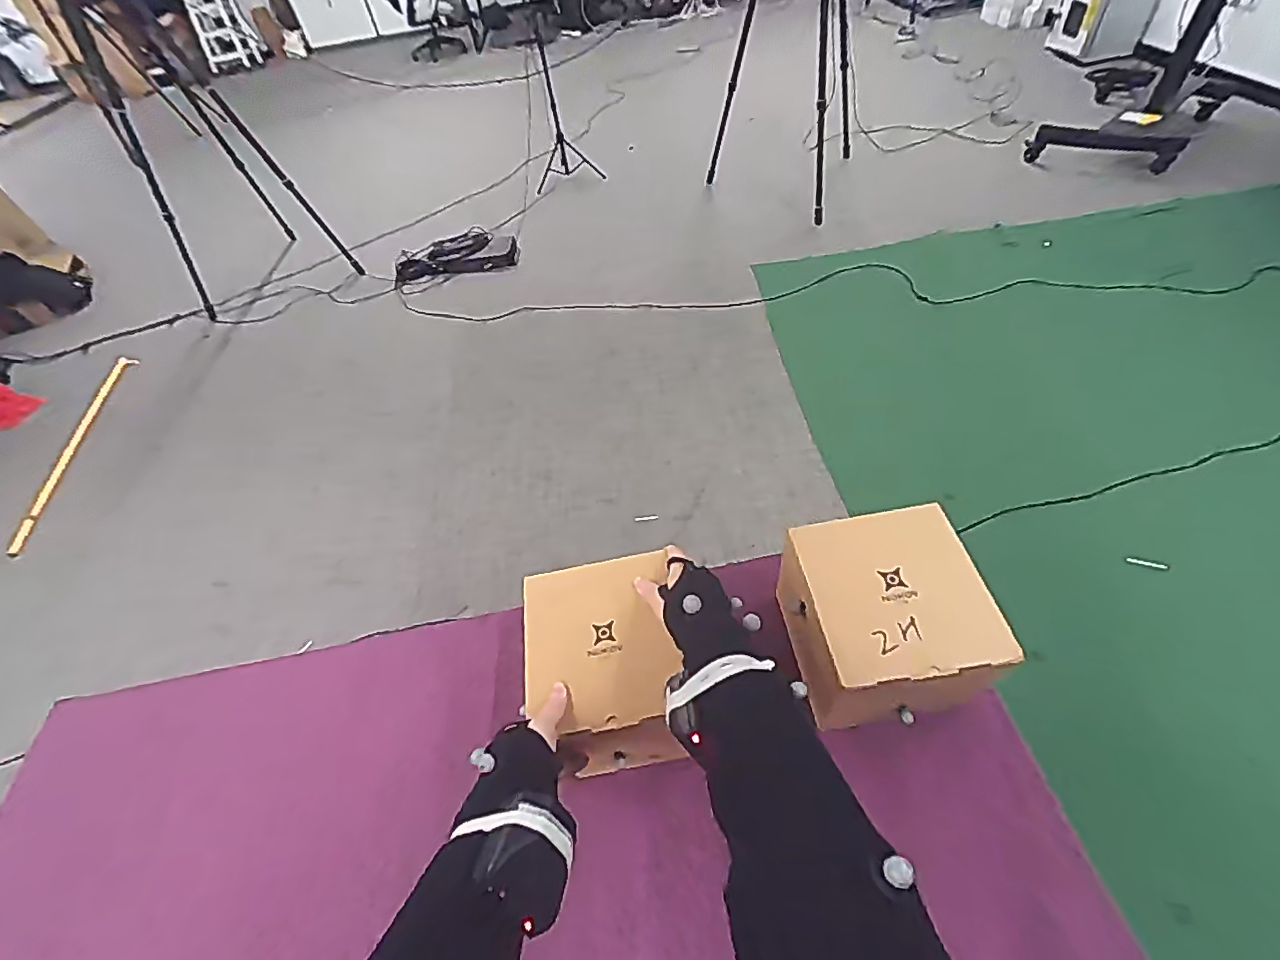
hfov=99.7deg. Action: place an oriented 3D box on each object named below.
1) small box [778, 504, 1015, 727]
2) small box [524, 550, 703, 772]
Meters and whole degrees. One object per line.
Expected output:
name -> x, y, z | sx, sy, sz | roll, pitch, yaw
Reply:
small box -> 0.257, 0.154, 0.599 | 0.168, 0.176, 0.179 | -10, 53, 2
small box -> -0.027, 0.207, 0.610 | 0.168, 0.176, 0.179 | -11, 52, 1
